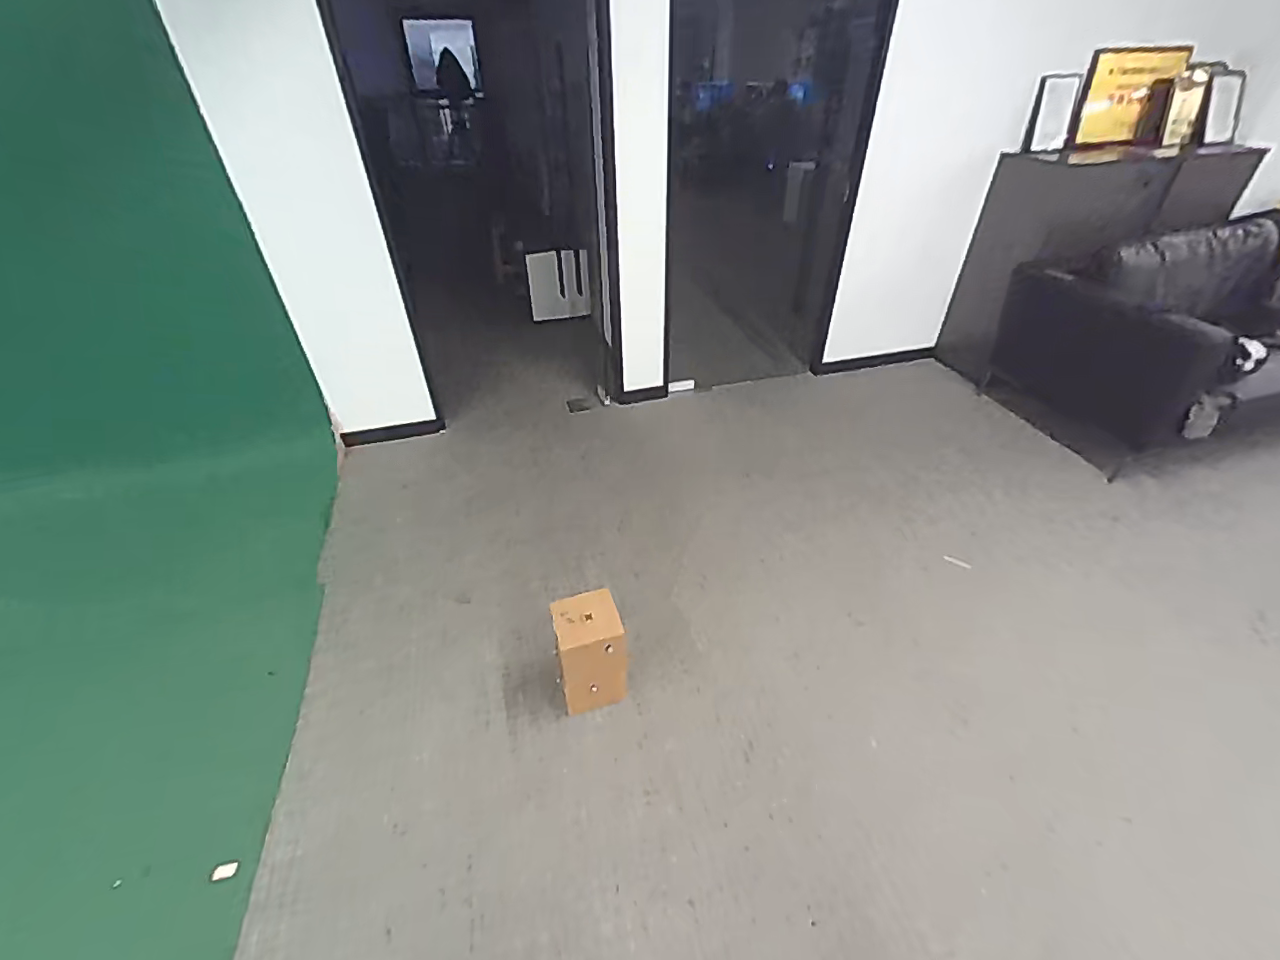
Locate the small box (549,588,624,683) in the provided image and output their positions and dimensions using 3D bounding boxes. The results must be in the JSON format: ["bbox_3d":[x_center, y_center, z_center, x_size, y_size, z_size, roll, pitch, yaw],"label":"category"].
[{"bbox_3d":[-0.148,0.433,1.503,0.179,0.176,0.168,-12,40,-13],"label":"small box"}]

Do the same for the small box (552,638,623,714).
[{"bbox_3d":[-0.154,0.561,1.607,0.179,0.176,0.168,-13,41,-14],"label":"small box"}]
